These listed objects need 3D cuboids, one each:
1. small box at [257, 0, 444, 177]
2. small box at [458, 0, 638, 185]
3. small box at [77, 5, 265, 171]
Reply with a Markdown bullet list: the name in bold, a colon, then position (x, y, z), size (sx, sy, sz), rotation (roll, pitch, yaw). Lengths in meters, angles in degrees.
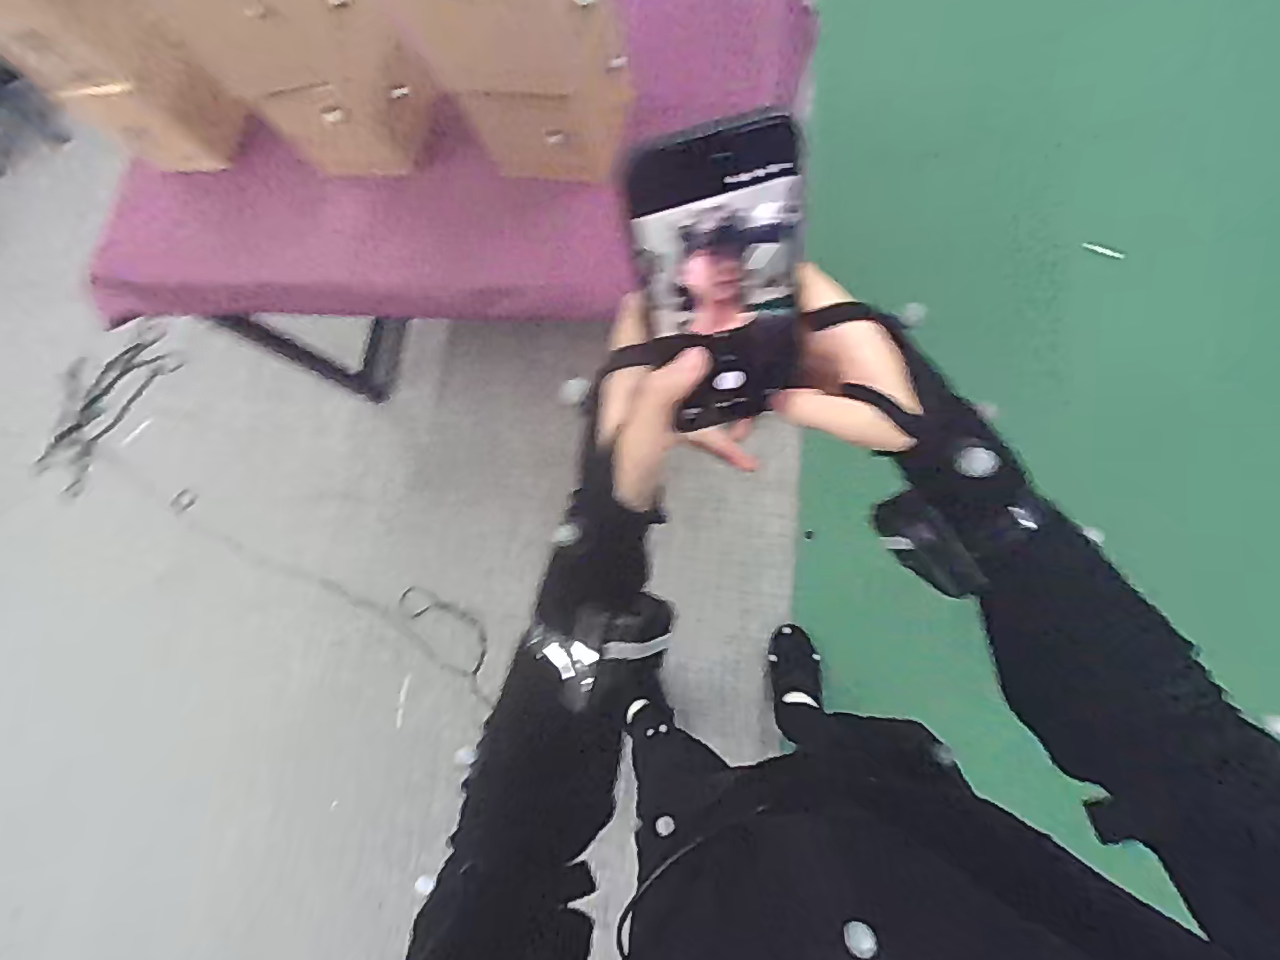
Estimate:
- **small box**: position (-0.441, -0.608, 0.852), size (0.179, 0.176, 0.168), rotation (8, 79, 14)
- **small box**: position (-0.116, -0.551, 0.766), size (0.179, 0.176, 0.168), rotation (14, 81, 16)
- **small box**: position (-0.812, -0.677, 0.955), size (0.168, 0.176, 0.179), rotation (8, 79, 15)
